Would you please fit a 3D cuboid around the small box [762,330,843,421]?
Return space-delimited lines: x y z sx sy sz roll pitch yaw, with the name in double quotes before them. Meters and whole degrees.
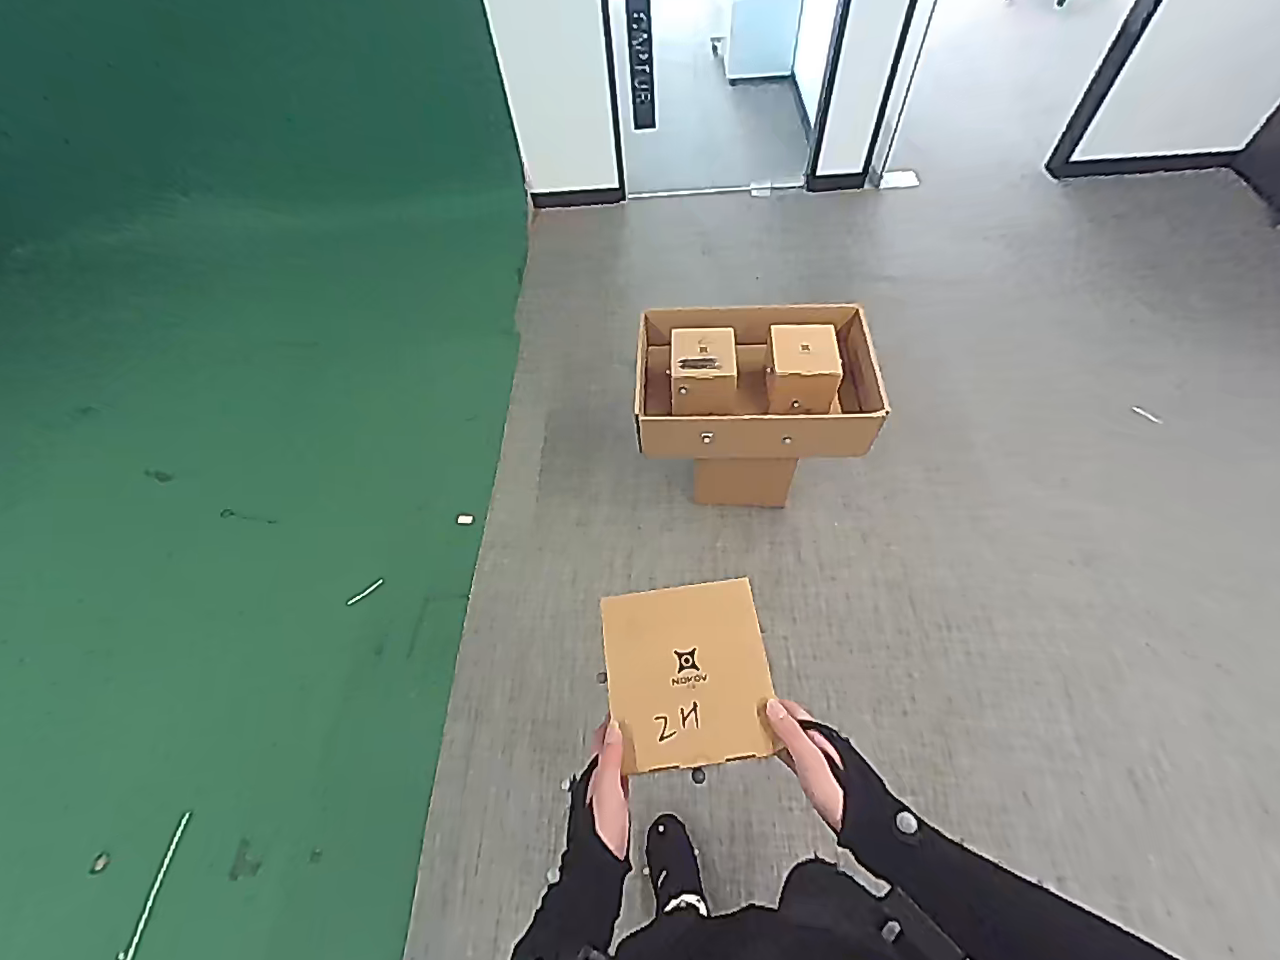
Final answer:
"small box" 0.425 -0.278 1.443 0.168 0.176 0.179 1 58 4

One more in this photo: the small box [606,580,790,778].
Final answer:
"small box" 0.055 0.230 0.612 0.168 0.176 0.179 -7 61 0
